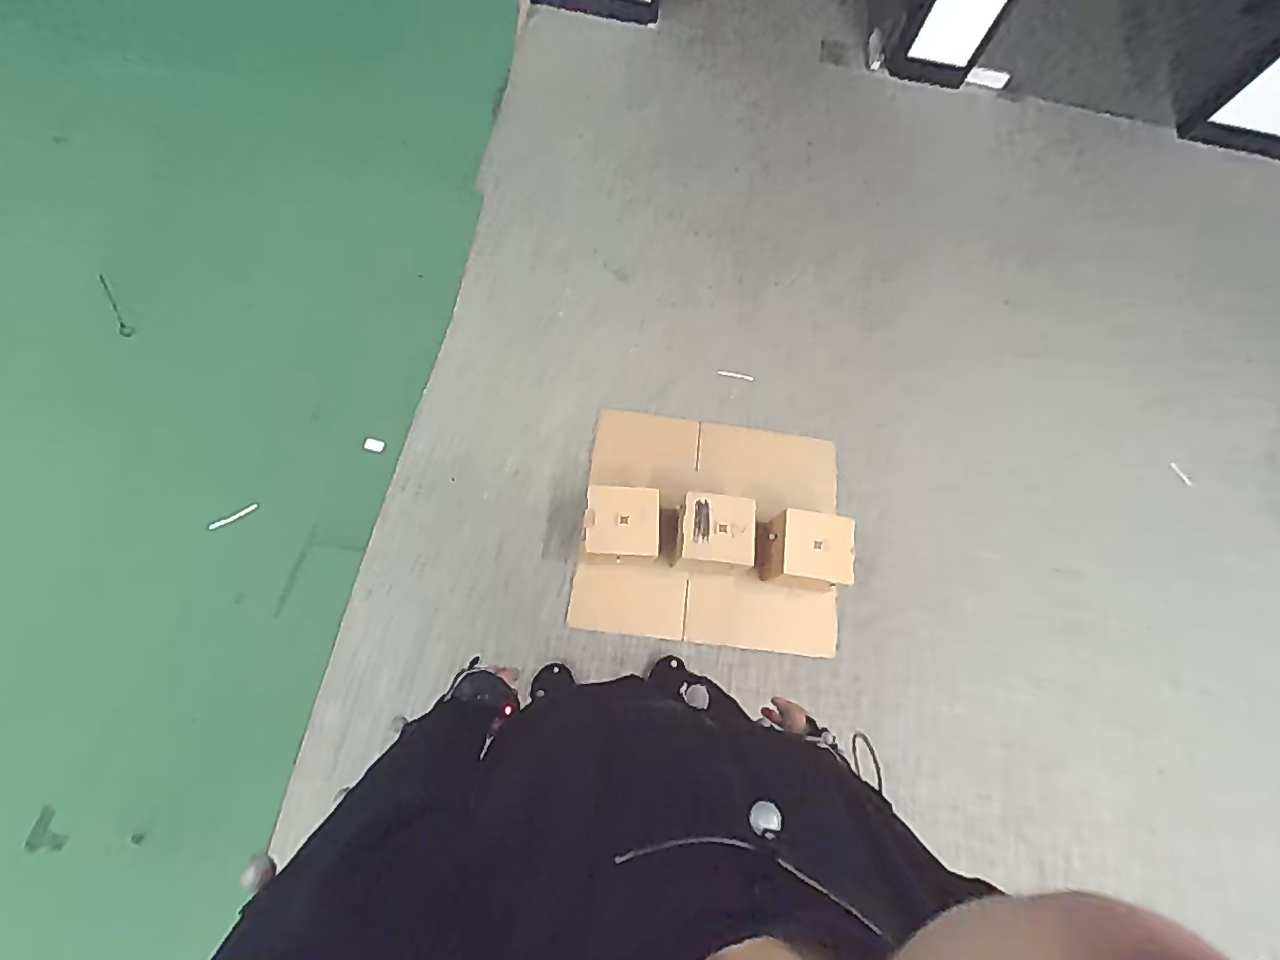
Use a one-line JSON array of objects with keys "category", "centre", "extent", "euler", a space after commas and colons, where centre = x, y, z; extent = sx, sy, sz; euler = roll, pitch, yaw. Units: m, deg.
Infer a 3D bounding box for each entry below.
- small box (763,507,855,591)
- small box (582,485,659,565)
[{"category": "small box", "centre": [0.420, 0.181, 1.364], "extent": [0.179, 0.176, 0.168], "euler": [9, 71, -3]}, {"category": "small box", "centre": [-0.051, 0.116, 1.340], "extent": [0.179, 0.176, 0.168], "euler": [3, 73, -6]}]
